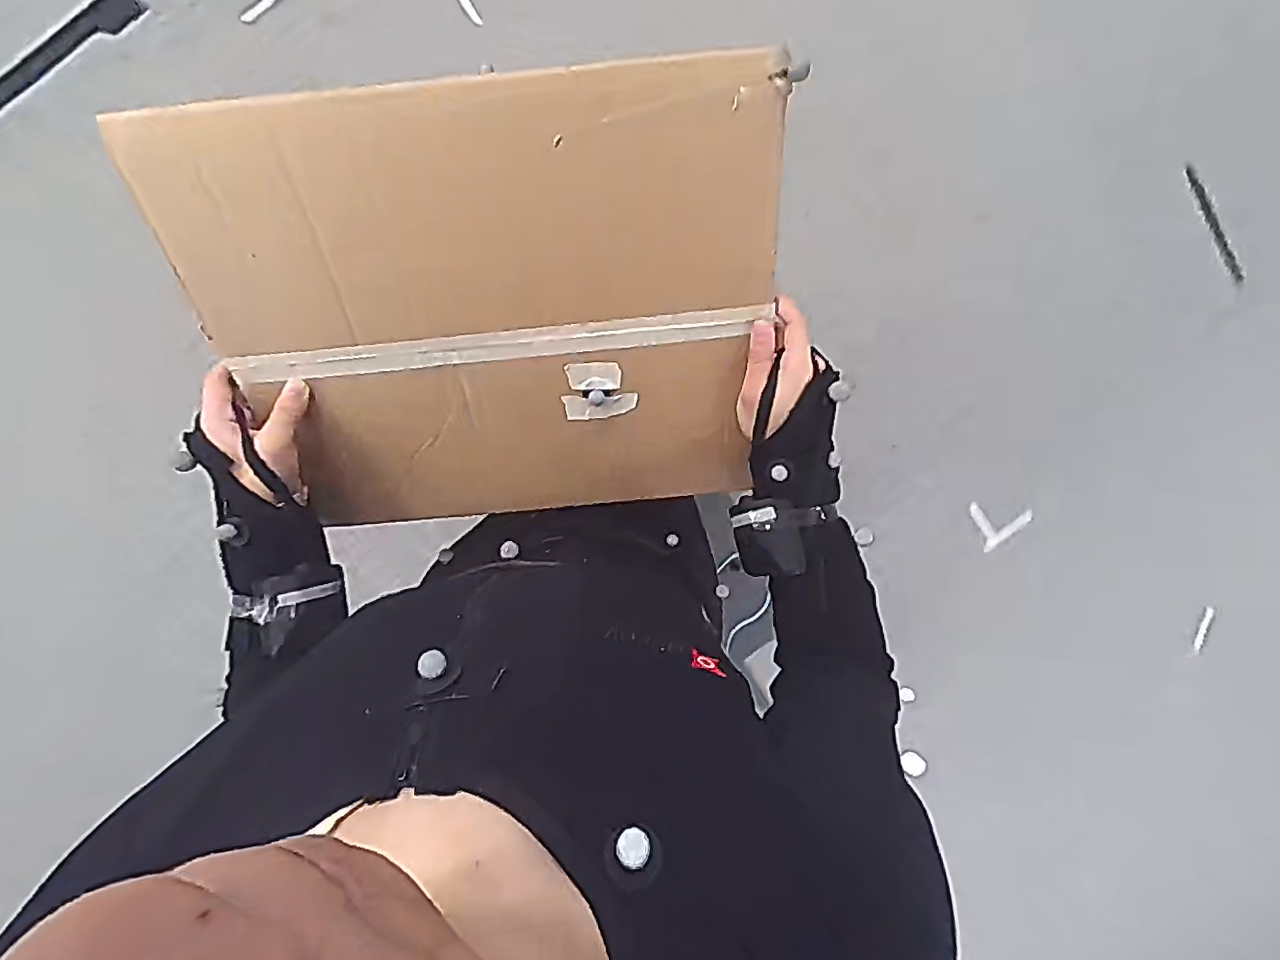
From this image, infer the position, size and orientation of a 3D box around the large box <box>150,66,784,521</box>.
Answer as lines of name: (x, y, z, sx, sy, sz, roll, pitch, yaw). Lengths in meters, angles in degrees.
large box: (-0.105, -0.190, 0.537, 0.408, 0.320, 0.320, -5, 126, 0)

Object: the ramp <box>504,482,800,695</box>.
ramp: (0.028, 0.153, 1.478, 0.509, 0.206, 0.991, -38, 102, 1)
